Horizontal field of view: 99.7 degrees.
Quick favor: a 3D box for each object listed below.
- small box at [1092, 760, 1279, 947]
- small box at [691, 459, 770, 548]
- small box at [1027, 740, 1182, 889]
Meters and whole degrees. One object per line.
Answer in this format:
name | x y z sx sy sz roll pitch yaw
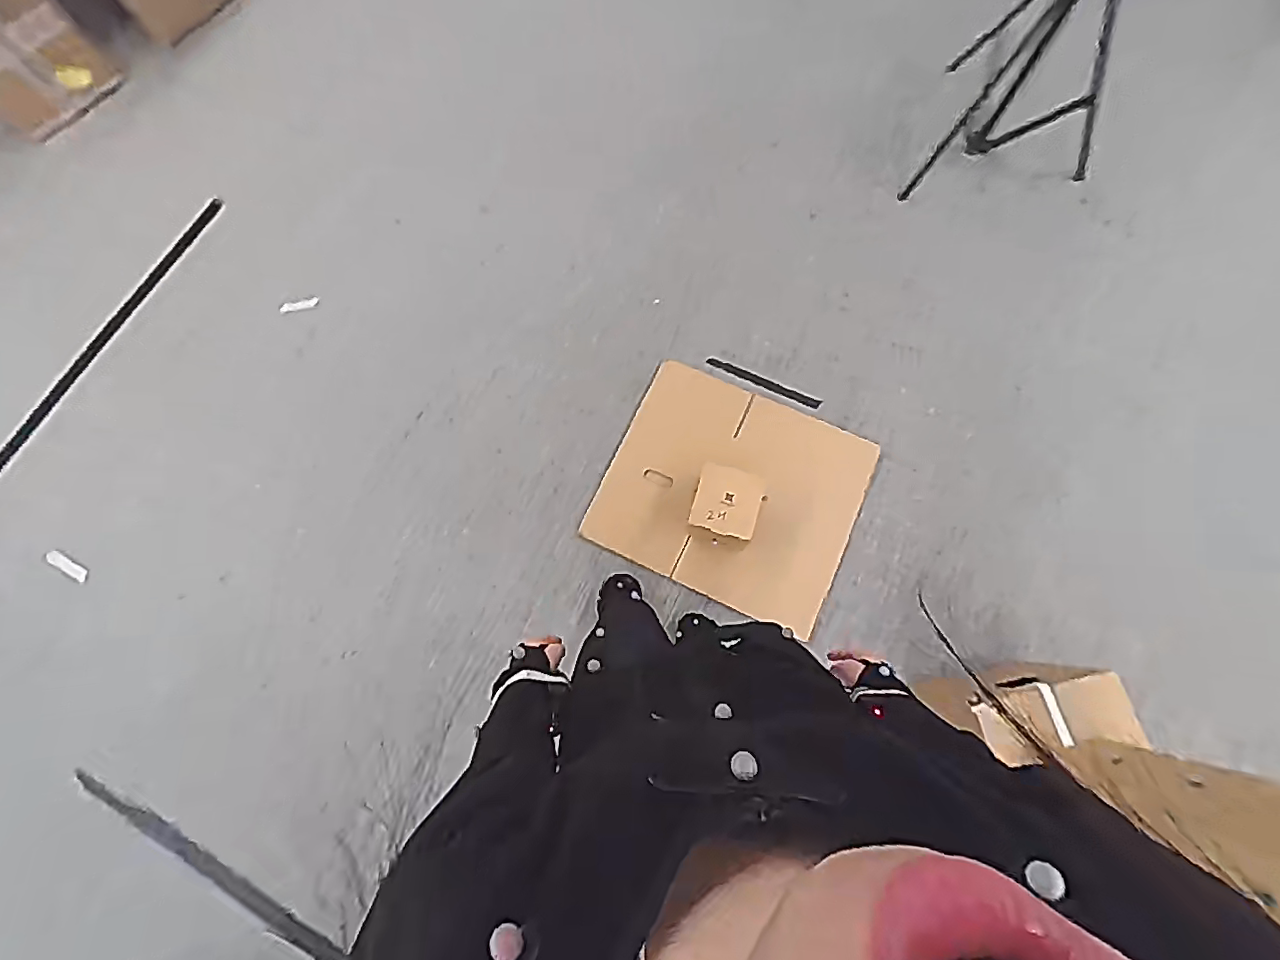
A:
small box | 0.853 0.544 0.816 0.179 0.176 0.168 -13 75 -2
small box | 0.235 0.069 1.448 0.168 0.176 0.179 16 77 9
small box | 0.857 0.587 0.974 0.179 0.176 0.168 -14 75 0
